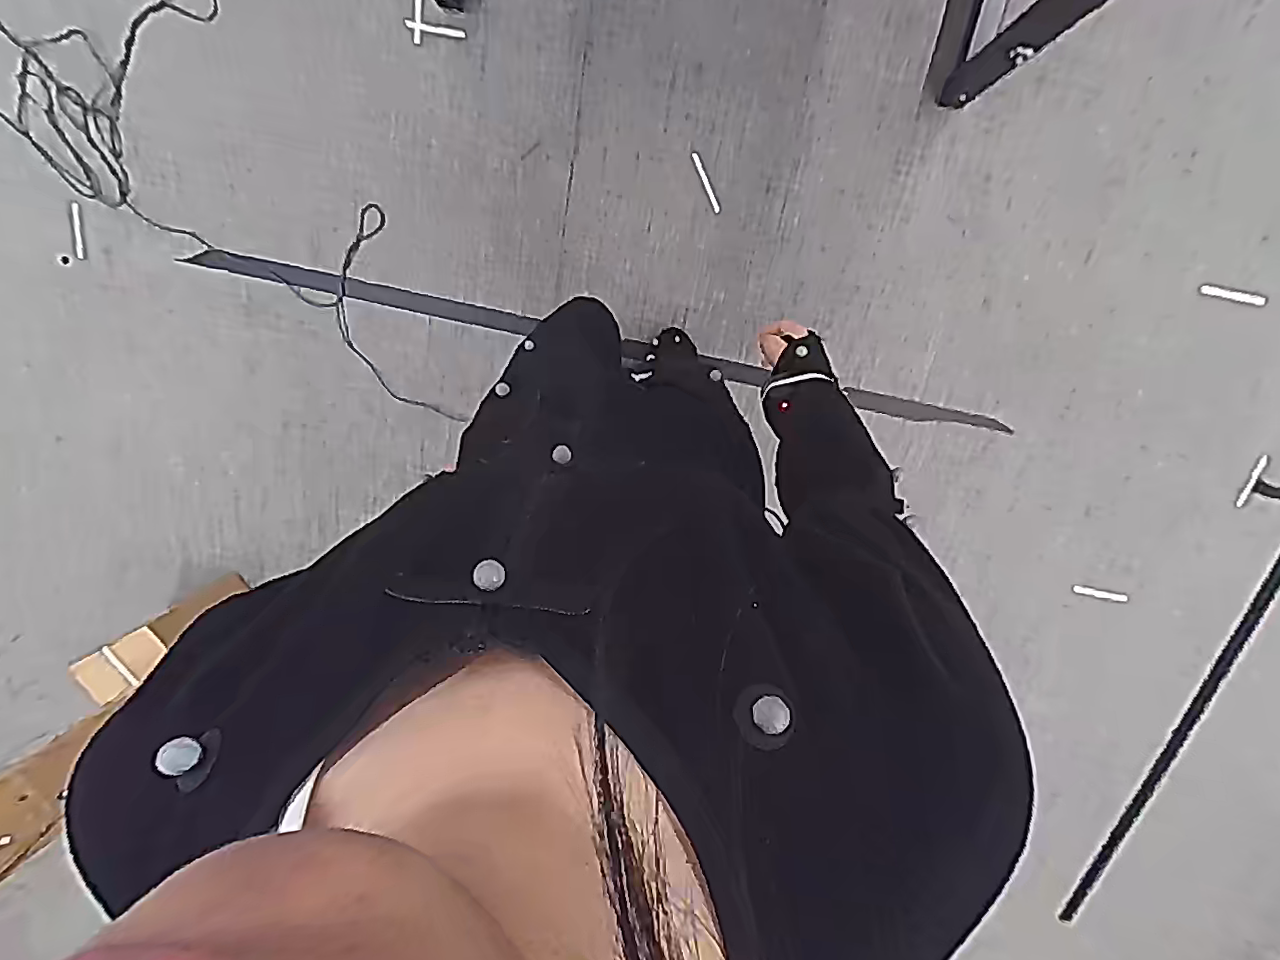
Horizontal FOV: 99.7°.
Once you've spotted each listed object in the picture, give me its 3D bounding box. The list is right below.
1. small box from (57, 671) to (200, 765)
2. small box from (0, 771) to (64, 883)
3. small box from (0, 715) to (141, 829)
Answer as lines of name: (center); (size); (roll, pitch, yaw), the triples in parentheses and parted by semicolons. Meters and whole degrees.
small box: (-1.306, 0.632, 1.394); (0.179, 0.176, 0.168); (-28, 103, 11)
small box: (-1.332, 0.724, 1.081); (0.179, 0.176, 0.168); (-28, 103, 12)
small box: (-1.321, 0.681, 1.238); (0.179, 0.176, 0.168); (-28, 103, 12)
